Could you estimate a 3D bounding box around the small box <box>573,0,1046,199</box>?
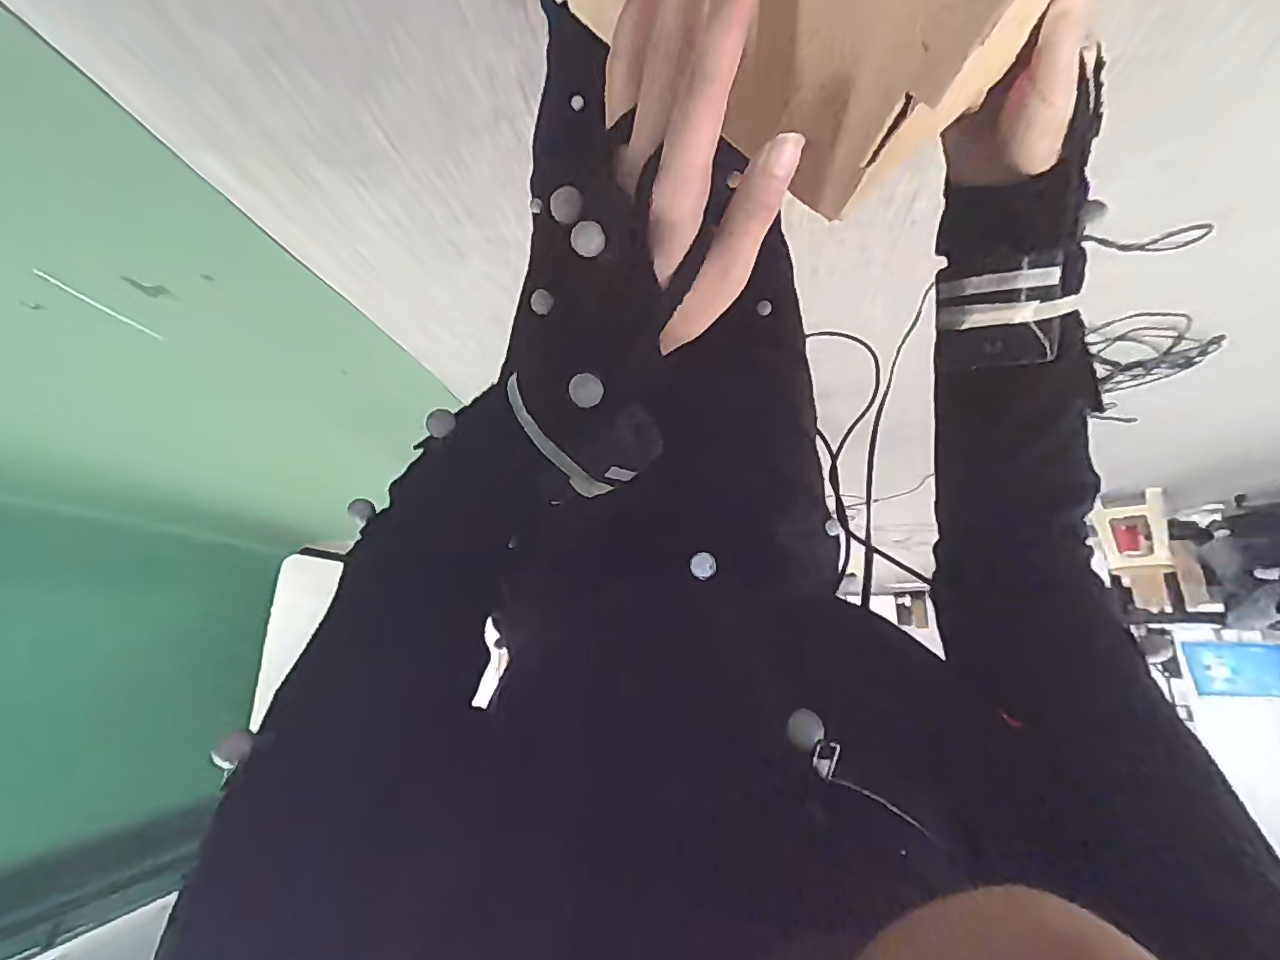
[{"bbox_3d":[0.087,-0.259,0.199,0.179,0.176,0.168,44,166,8],"label":"small box"}]
